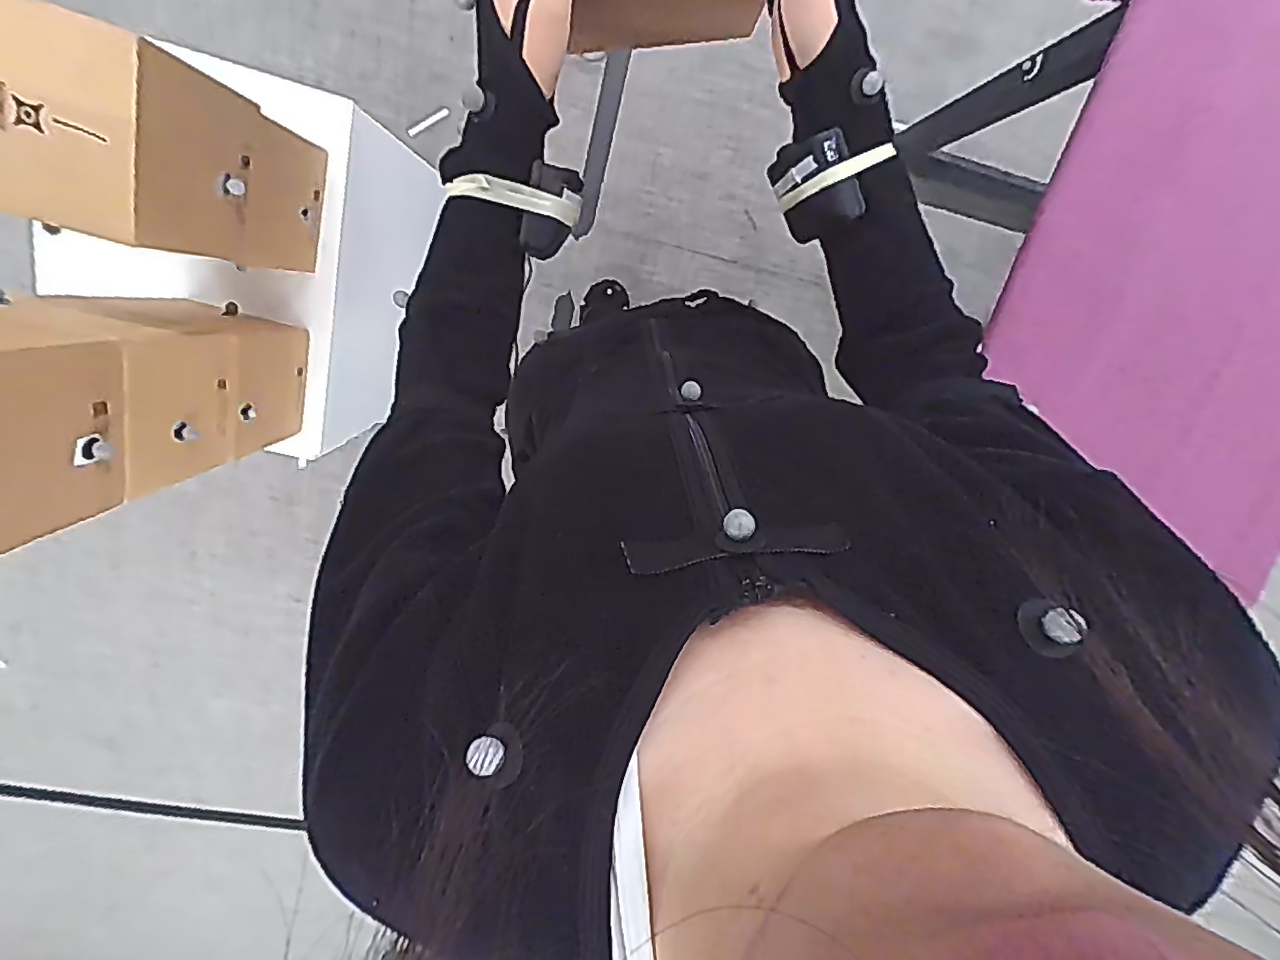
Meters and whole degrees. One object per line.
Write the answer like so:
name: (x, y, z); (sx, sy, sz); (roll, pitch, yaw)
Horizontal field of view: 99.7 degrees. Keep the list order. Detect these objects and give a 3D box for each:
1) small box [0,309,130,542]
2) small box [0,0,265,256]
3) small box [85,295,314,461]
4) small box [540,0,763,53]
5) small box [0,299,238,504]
small box: (-0.562, -0.046, 0.422); (0.179, 0.176, 0.168); (12, 107, -8)
small box: (-0.499, -0.321, 0.508); (0.179, 0.176, 0.168); (15, 107, -10)
small box: (-0.582, -0.142, 0.732); (0.179, 0.176, 0.168); (14, 107, -7)
small box: (0.008, -0.426, 0.367); (0.179, 0.176, 0.168); (-4, 107, 1)
small box: (-0.570, -0.093, 0.578); (0.179, 0.176, 0.168); (12, 106, -7)
